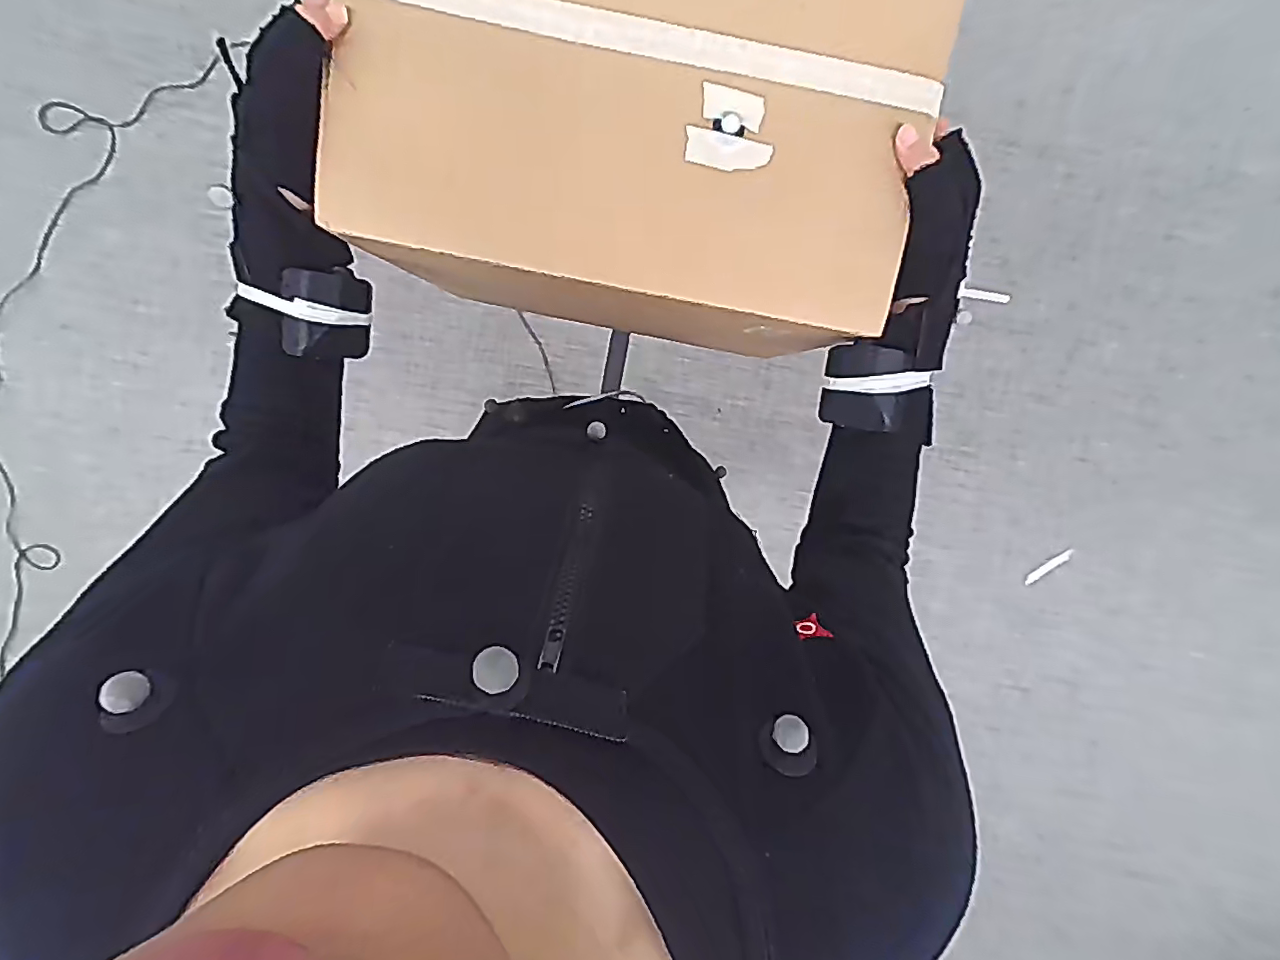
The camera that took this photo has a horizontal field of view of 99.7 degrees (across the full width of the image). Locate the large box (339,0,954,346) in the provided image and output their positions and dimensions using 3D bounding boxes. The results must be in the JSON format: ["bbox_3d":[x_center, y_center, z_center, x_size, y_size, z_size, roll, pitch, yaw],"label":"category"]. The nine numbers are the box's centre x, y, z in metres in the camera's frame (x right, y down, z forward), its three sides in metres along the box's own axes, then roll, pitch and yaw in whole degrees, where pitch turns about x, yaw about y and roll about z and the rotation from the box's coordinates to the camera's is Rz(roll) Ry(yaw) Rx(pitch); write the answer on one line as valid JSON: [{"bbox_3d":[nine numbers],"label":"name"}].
[{"bbox_3d":[0.001,-0.323,0.512,0.408,0.320,0.320,10,101,-4],"label":"large box"}]
